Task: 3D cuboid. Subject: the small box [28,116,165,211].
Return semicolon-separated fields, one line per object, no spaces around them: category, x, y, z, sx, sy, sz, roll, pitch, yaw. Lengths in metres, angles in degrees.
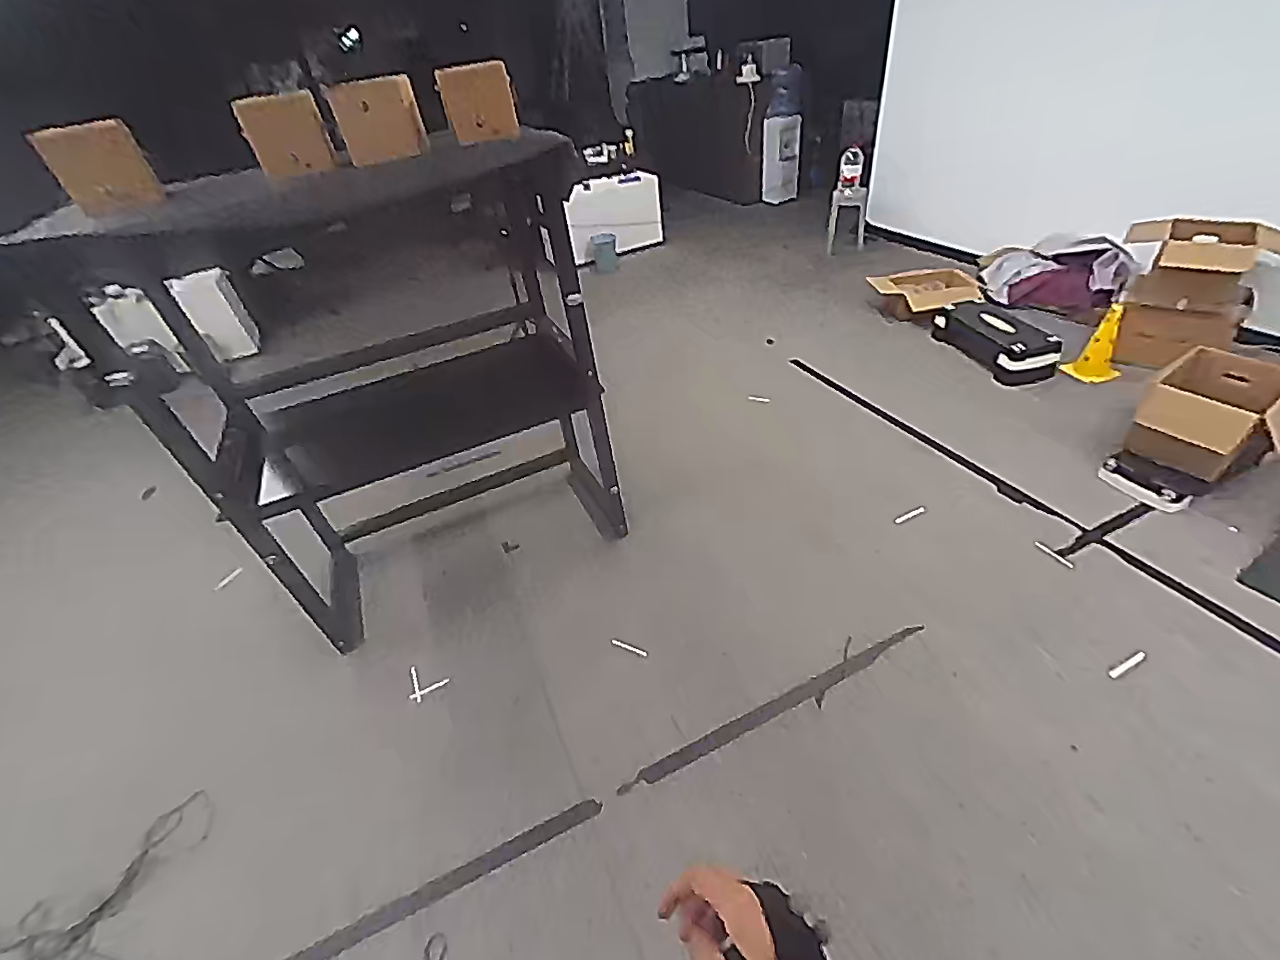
small box;-1.302;-0.768;1.312;0.168;0.176;0.179;-28;44;-21

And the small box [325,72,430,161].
small box;-0.673;-0.945;1.406;0.179;0.176;0.168;-11;40;-3

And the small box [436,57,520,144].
small box;-0.430;-1.003;1.431;0.168;0.176;0.179;-18;41;-10
